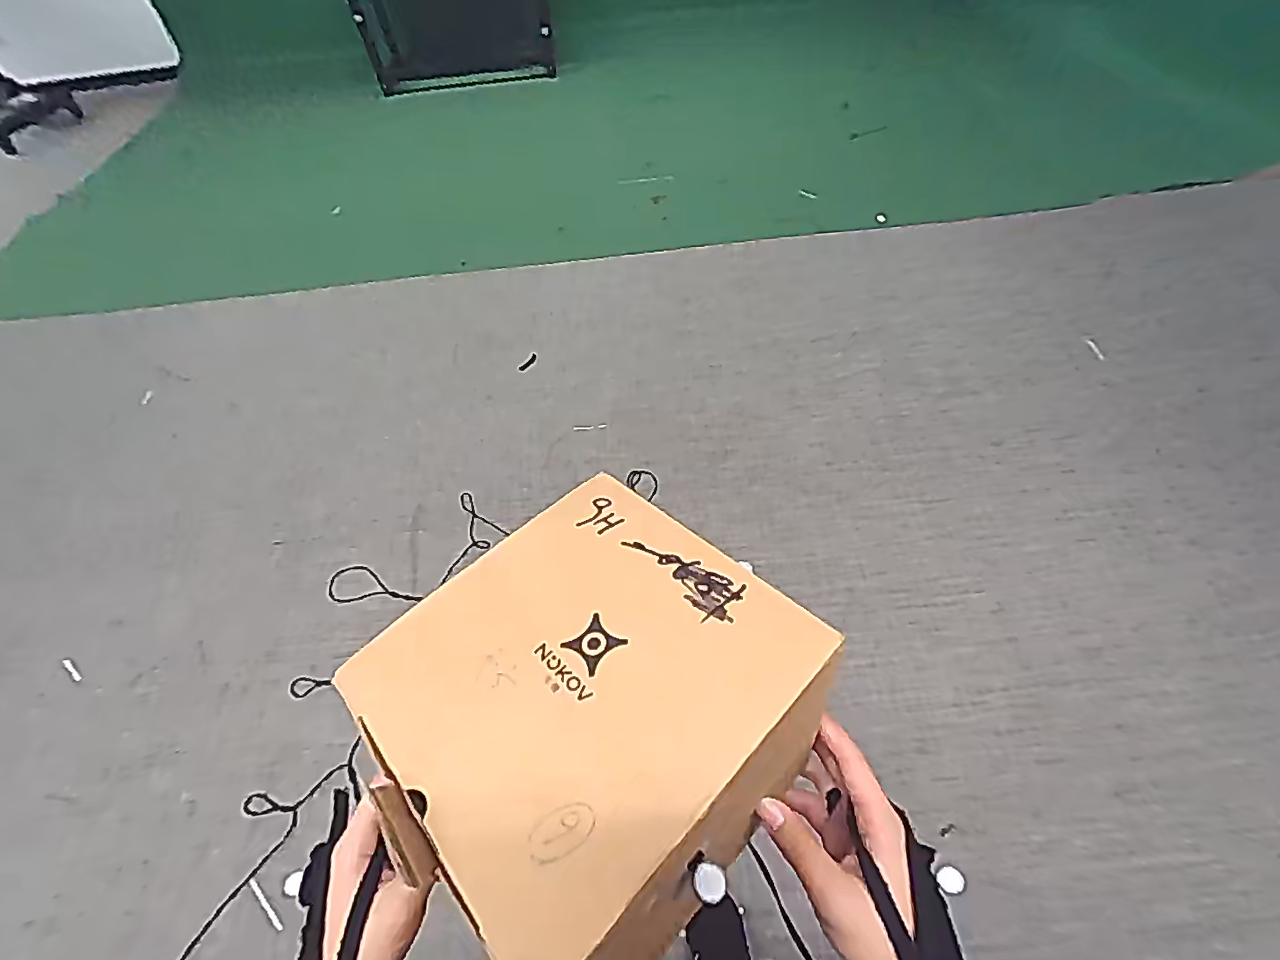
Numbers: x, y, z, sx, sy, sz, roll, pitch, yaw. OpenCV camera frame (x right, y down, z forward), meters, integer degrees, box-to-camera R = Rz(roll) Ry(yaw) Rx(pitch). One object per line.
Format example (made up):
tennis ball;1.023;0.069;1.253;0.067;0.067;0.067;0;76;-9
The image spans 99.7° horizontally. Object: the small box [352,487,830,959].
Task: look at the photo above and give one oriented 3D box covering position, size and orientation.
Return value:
small box;-0.016;0.144;0.312;0.179;0.176;0.168;-39;53;-25
